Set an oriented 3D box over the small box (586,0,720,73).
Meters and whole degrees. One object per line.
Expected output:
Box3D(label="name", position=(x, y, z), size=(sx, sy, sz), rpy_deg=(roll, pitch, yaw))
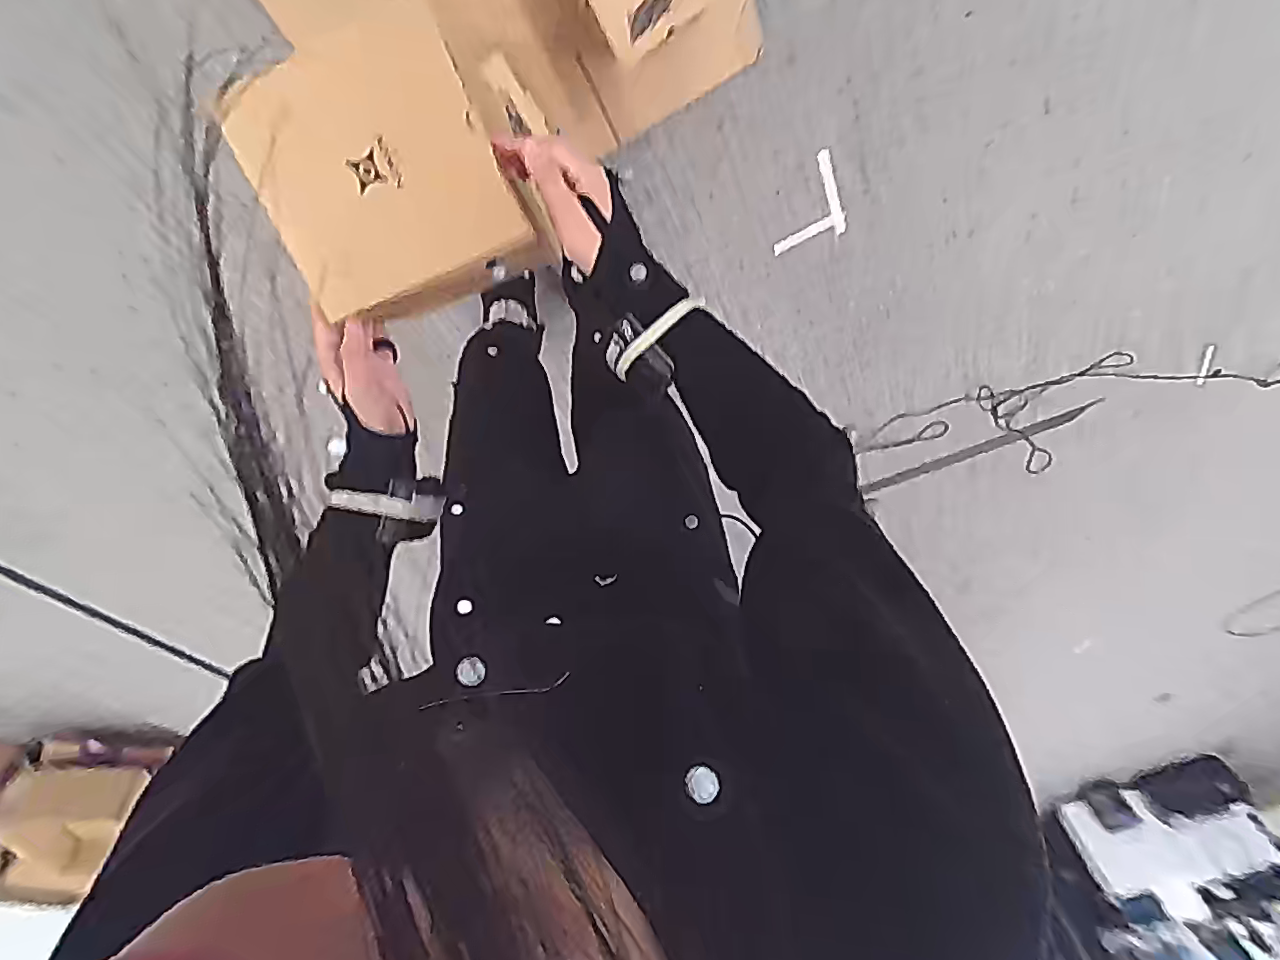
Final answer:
Box3D(label="small box", position=(-0.003, -0.752, 0.797), size=(0.168, 0.176, 0.179), rpy_deg=(-27, 129, 16))
